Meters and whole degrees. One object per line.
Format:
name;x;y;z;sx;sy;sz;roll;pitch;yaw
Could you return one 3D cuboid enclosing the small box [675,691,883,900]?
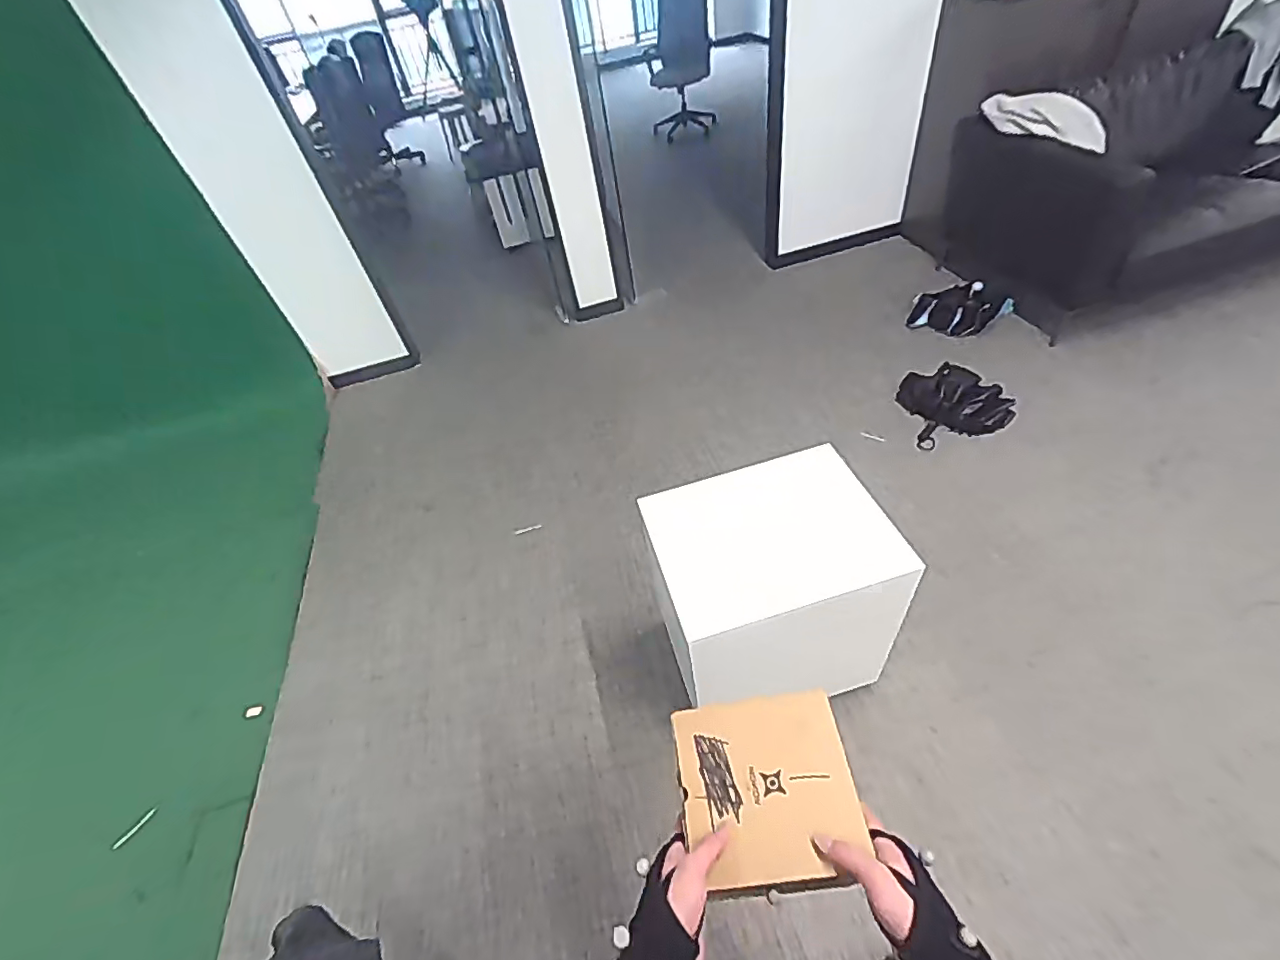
small box;0.143;0.356;0.604;0.179;0.176;0.168;-9;49;4
